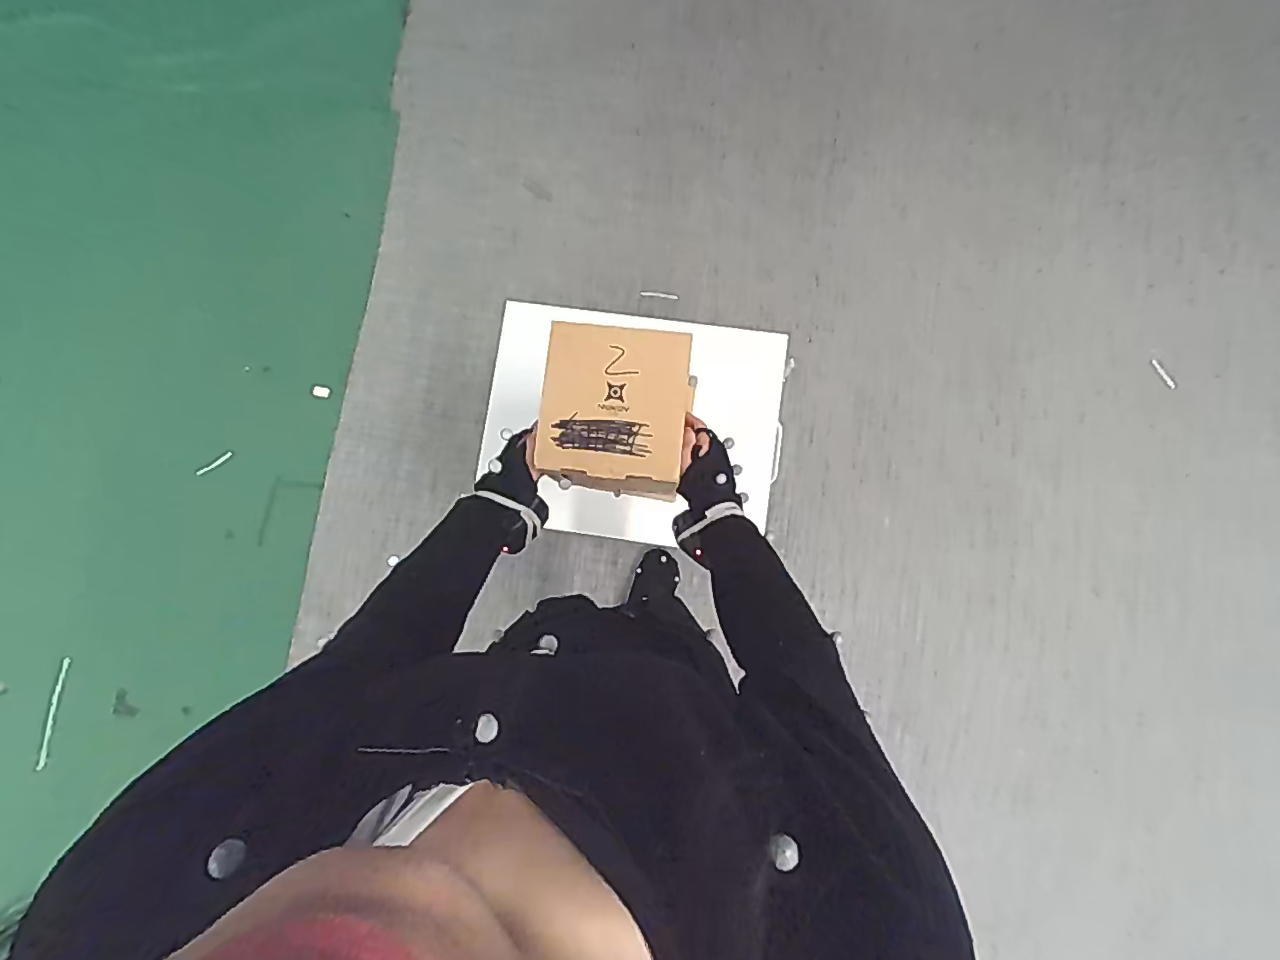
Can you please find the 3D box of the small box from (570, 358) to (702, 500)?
[{"bbox_3d":[-0.003,-0.071,0.849,0.168,0.176,0.179,9,84,4],"label":"small box"}]
